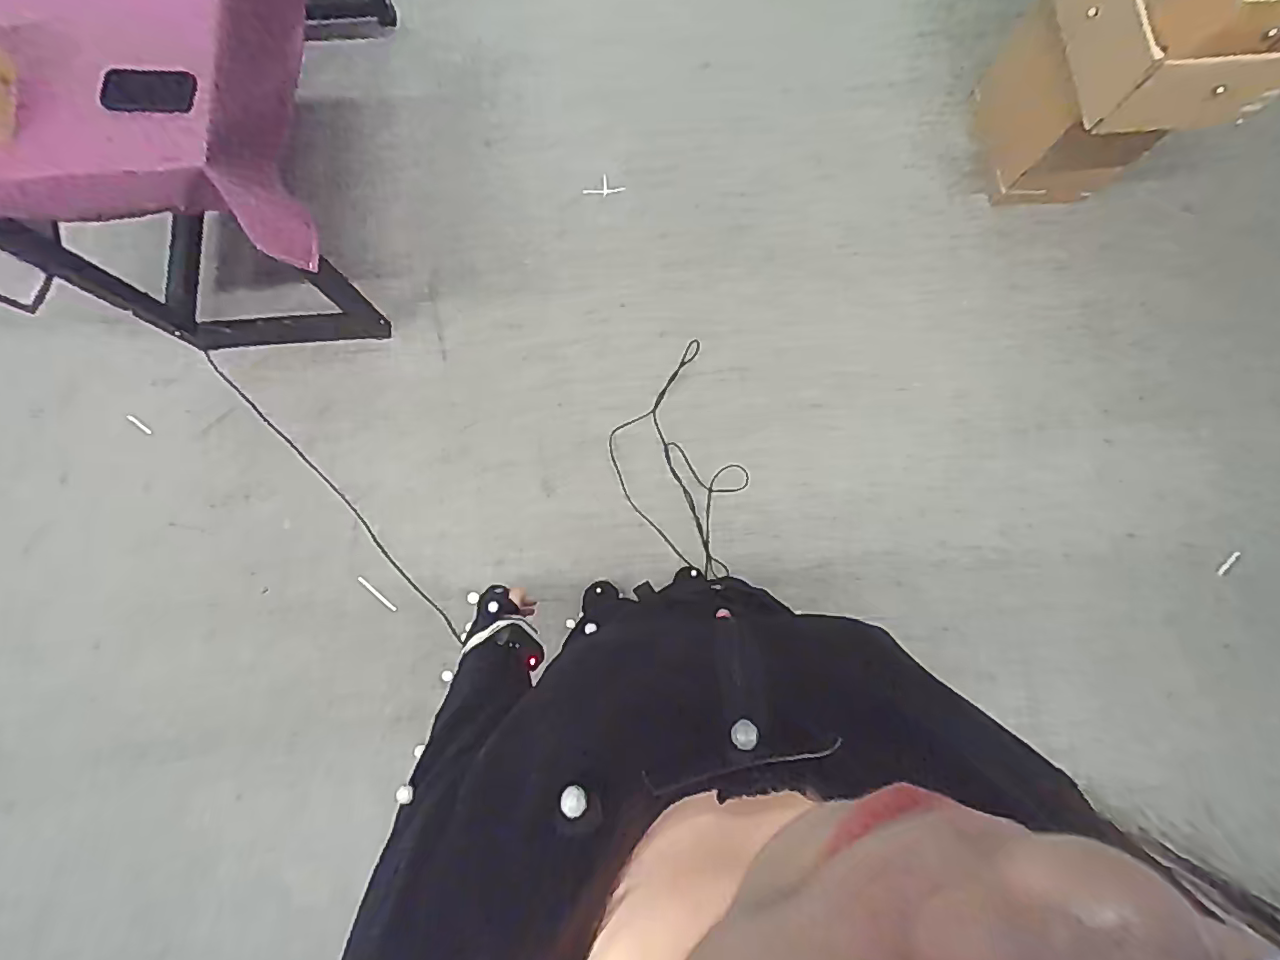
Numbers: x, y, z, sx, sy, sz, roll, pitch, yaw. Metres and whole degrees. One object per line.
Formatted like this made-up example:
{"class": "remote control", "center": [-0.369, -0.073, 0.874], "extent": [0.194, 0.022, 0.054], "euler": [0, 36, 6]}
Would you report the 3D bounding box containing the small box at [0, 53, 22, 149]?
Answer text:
{"class": "small box", "center": [-1.158, -0.650, 0.860], "extent": [0.179, 0.176, 0.168], "euler": [-9, 79, -2]}
